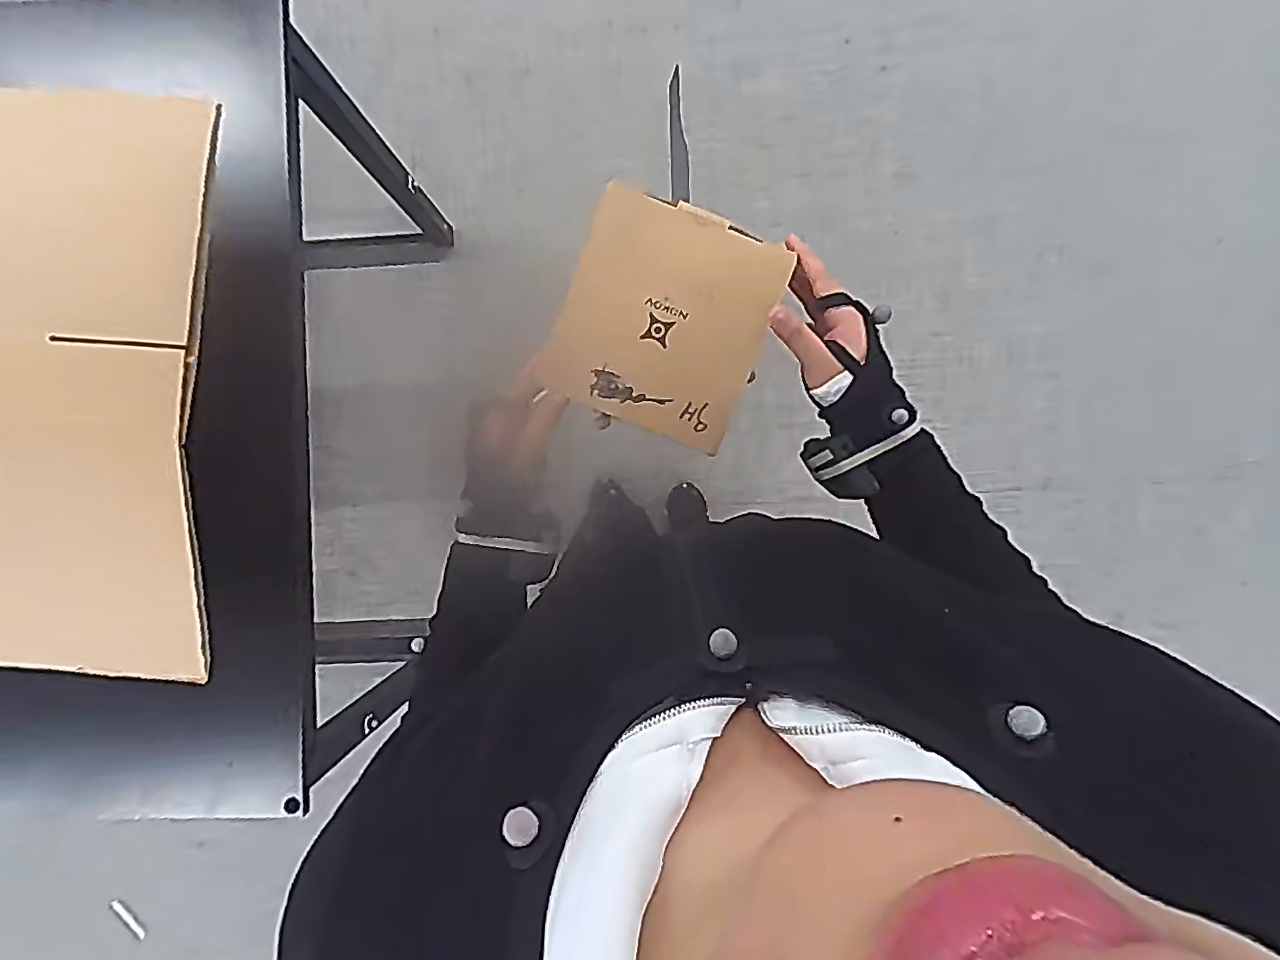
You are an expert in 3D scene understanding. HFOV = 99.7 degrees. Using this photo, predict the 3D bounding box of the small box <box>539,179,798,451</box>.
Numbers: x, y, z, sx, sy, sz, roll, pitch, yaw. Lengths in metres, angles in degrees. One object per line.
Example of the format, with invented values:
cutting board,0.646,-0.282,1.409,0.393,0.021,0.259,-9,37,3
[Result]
small box,0.025,-0.139,0.519,0.168,0.176,0.179,23,96,2
